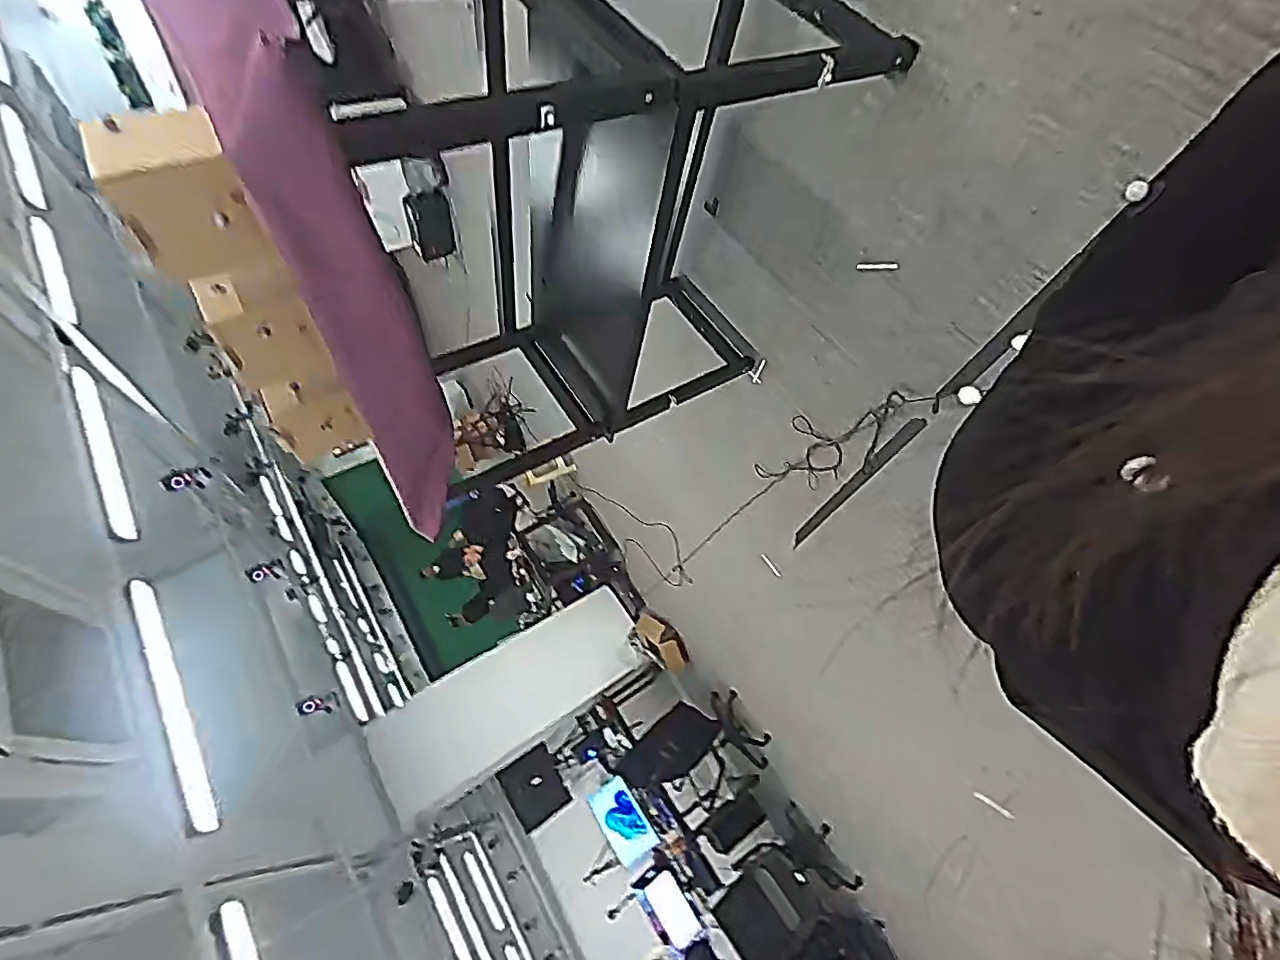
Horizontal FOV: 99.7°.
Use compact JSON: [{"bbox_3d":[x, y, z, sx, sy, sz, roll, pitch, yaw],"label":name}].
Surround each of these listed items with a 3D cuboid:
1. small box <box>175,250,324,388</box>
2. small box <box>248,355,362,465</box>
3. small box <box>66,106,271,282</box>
[{"bbox_3d":[-0.738,-0.315,1.040,0.179,0.176,0.168,53,154,23],"label":"small box"},{"bbox_3d":[-0.778,-0.173,1.267,0.179,0.176,0.168,49,153,29],"label":"small box"},{"bbox_3d":[-0.690,-0.432,0.808,0.179,0.176,0.168,52,155,26],"label":"small box"}]
